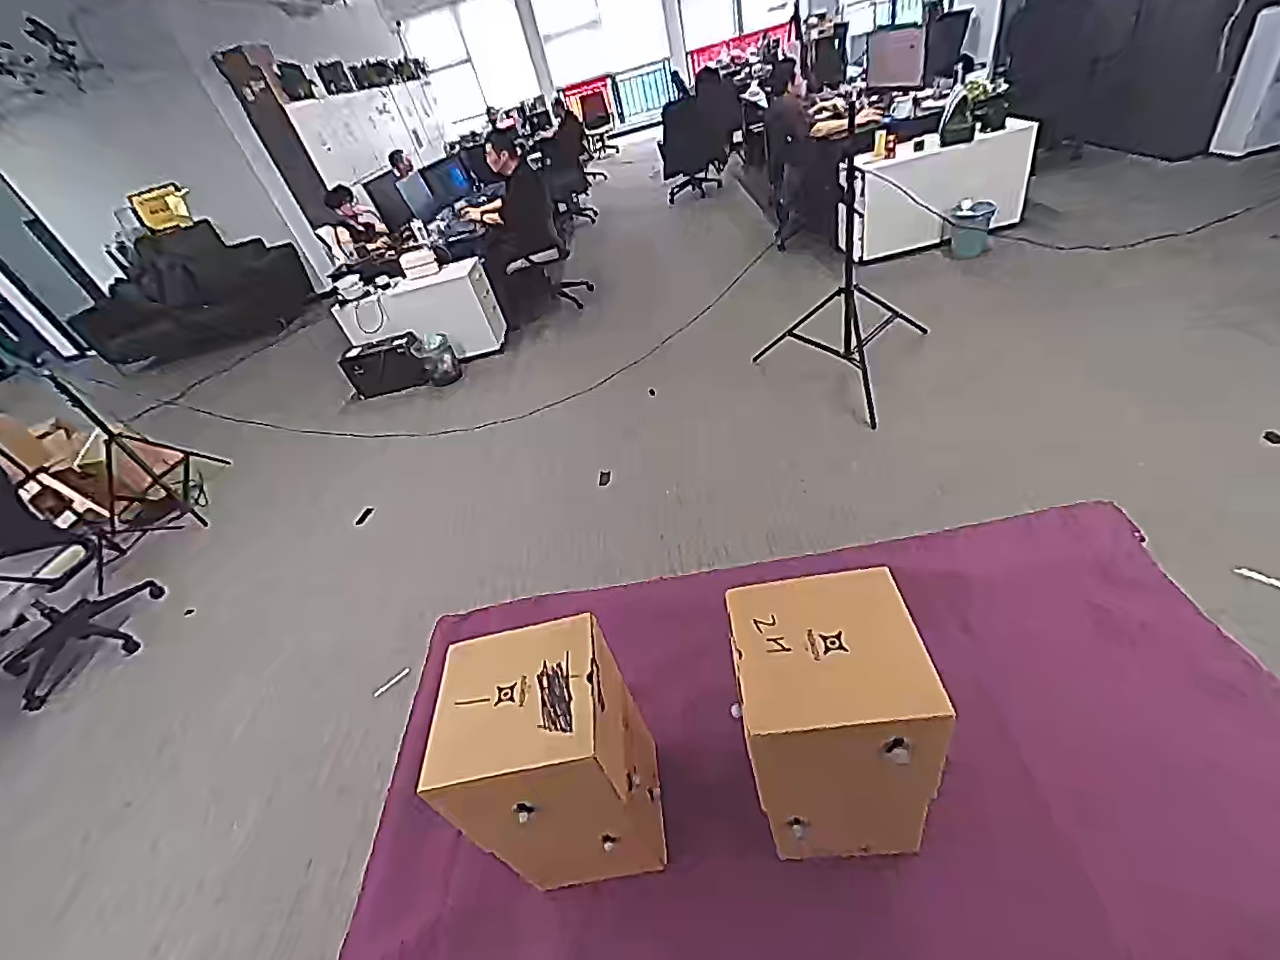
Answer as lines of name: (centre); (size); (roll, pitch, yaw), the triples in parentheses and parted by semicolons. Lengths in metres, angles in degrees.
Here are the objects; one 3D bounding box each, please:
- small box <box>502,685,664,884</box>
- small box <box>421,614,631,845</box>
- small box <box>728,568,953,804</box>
small box: (-0.076, 0.405, 0.717); (0.179, 0.176, 0.168); (-13, 38, 4)
small box: (-0.111, 0.283, 0.612); (0.179, 0.176, 0.168); (-14, 38, 4)
small box: (0.196, 0.219, 0.571); (0.179, 0.176, 0.168); (-10, 37, 9)
